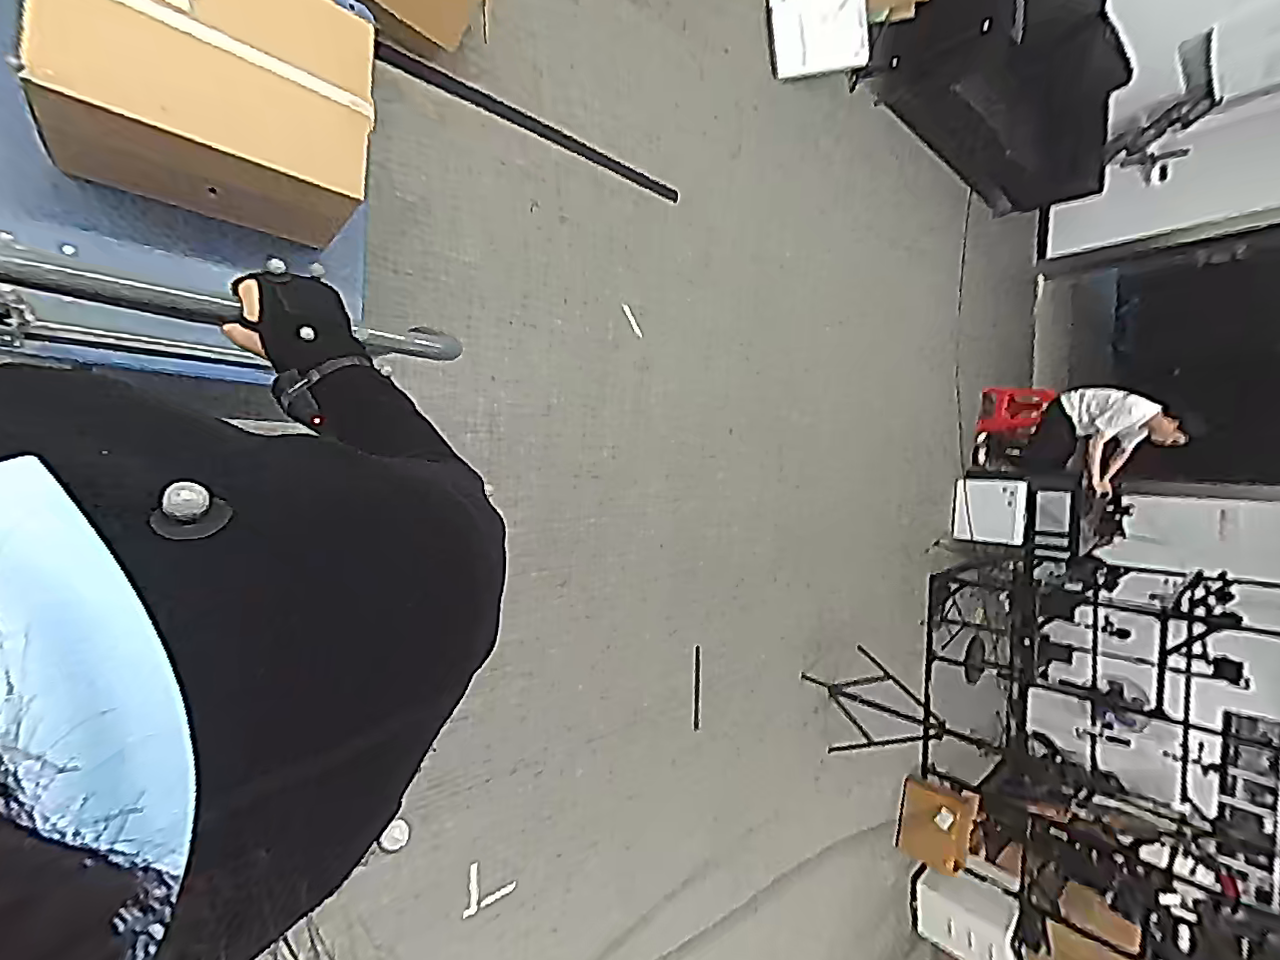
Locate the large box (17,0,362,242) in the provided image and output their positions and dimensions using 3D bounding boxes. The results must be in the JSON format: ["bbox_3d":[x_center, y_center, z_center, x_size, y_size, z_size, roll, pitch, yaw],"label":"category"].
[{"bbox_3d":[-0.741,-0.663,0.937,0.408,0.320,0.320,3,89,-41],"label":"large box"}]
